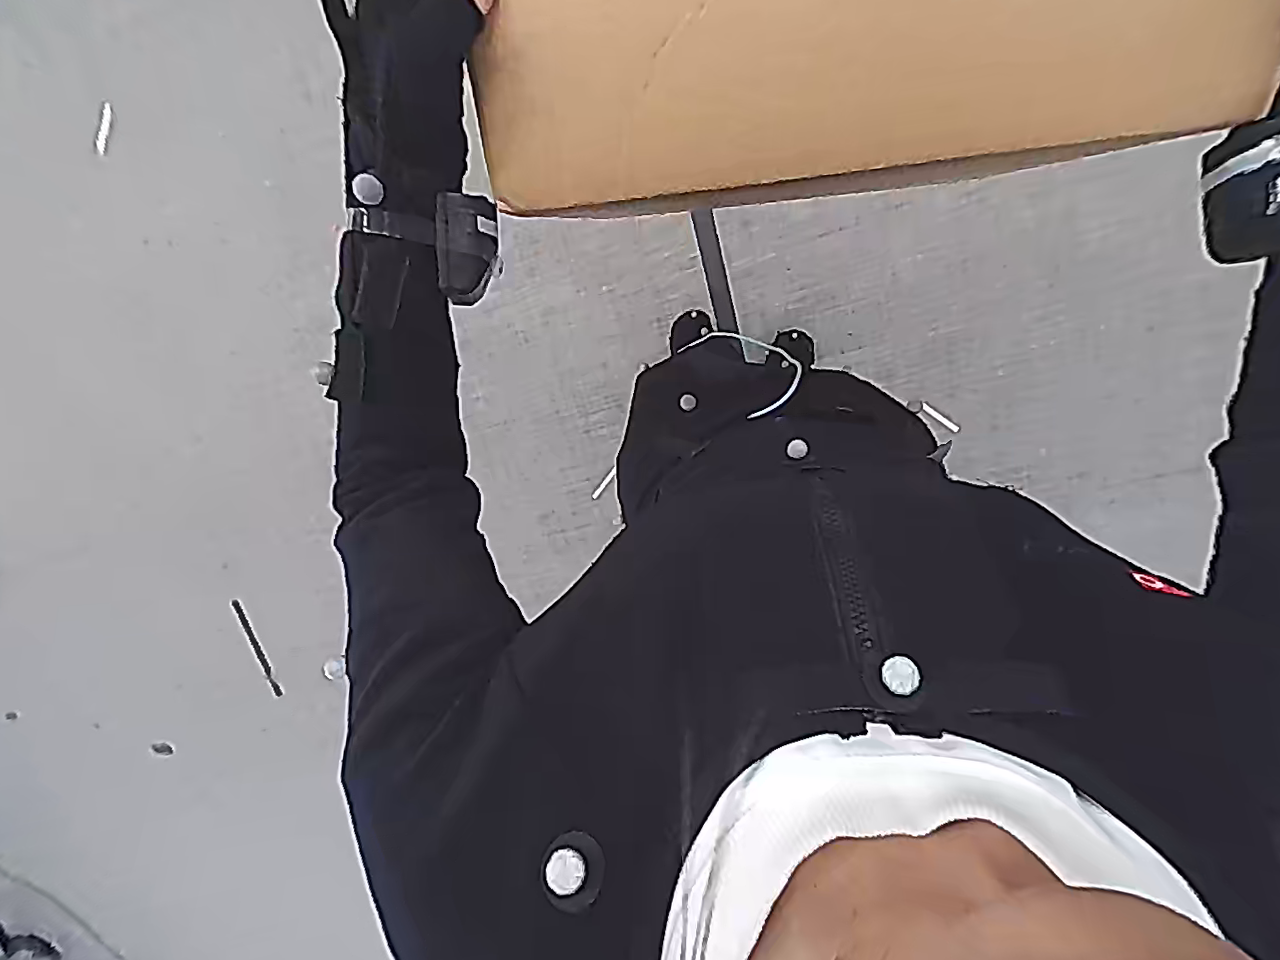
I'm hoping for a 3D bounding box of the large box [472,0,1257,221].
[{"bbox_3d":[0.112,-0.386,0.389,0.408,0.320,0.320,-3,115,10],"label":"large box"}]
